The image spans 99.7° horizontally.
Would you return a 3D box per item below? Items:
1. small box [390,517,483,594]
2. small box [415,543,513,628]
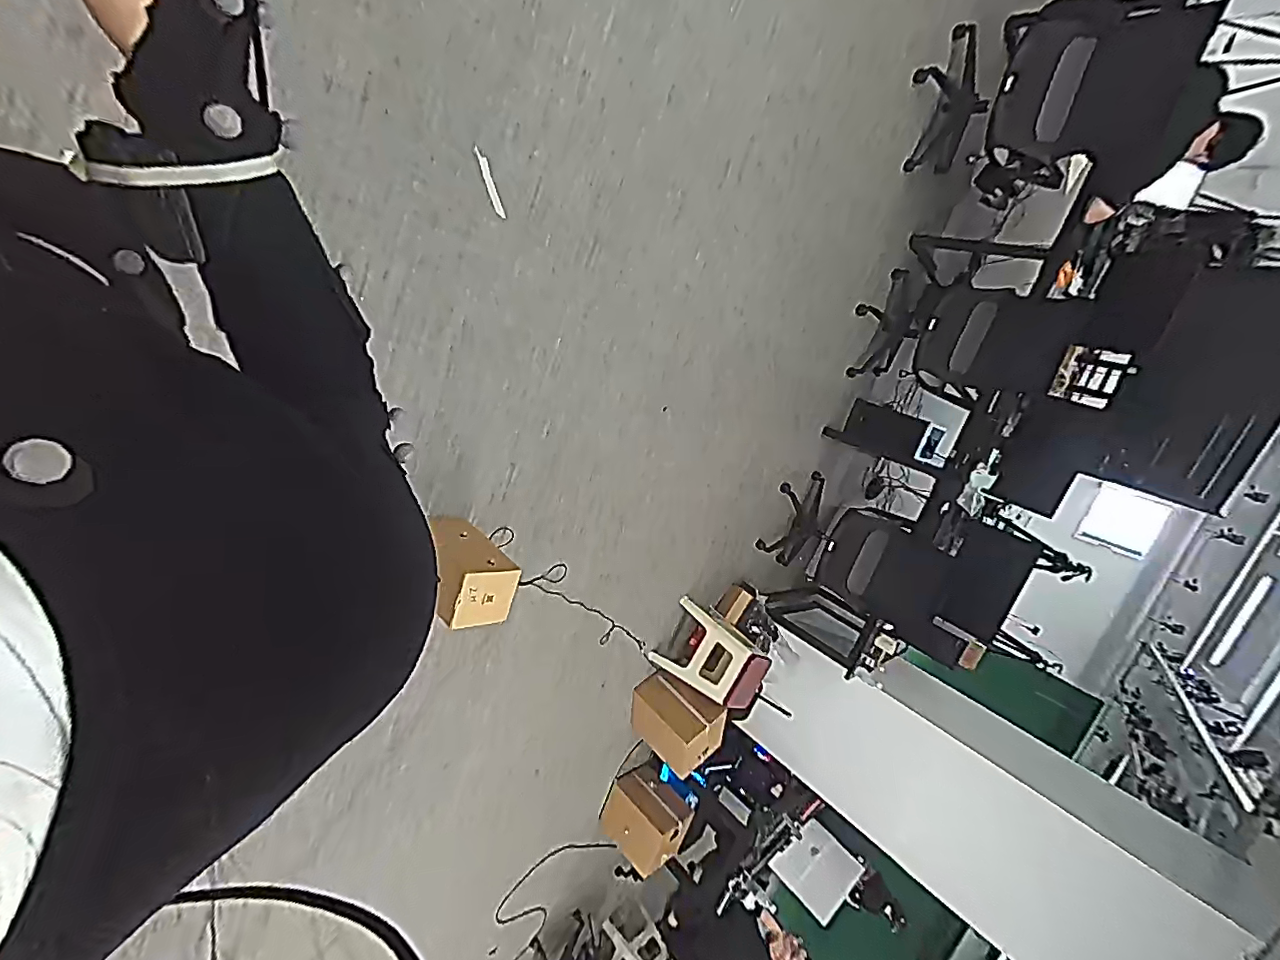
[{"bbox_3d":[-0.597,0.217,1.583,0.179,0.176,0.168,9,105,-49],"label":"small box"},{"bbox_3d":[-0.484,0.281,1.482,0.179,0.176,0.168,7,107,-49],"label":"small box"}]
